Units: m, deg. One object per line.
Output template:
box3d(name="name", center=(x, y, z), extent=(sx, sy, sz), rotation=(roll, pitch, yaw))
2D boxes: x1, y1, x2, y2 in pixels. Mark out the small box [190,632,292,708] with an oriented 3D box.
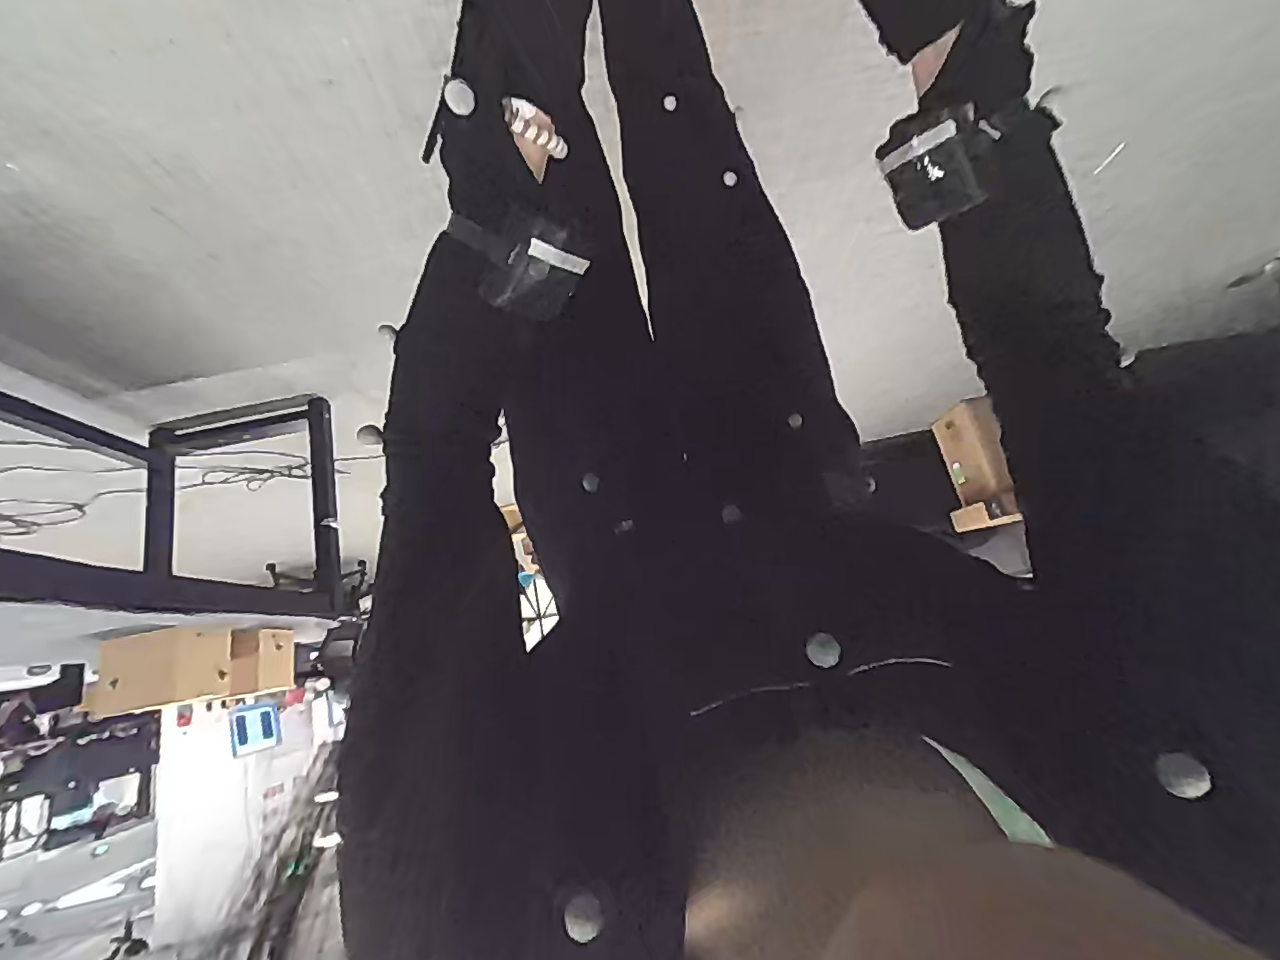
box3d(name="small box", center=(-1.105, 0.529, 1.515), extent=(0.179, 0.176, 0.168), rotation=(-9, 163, -4))
